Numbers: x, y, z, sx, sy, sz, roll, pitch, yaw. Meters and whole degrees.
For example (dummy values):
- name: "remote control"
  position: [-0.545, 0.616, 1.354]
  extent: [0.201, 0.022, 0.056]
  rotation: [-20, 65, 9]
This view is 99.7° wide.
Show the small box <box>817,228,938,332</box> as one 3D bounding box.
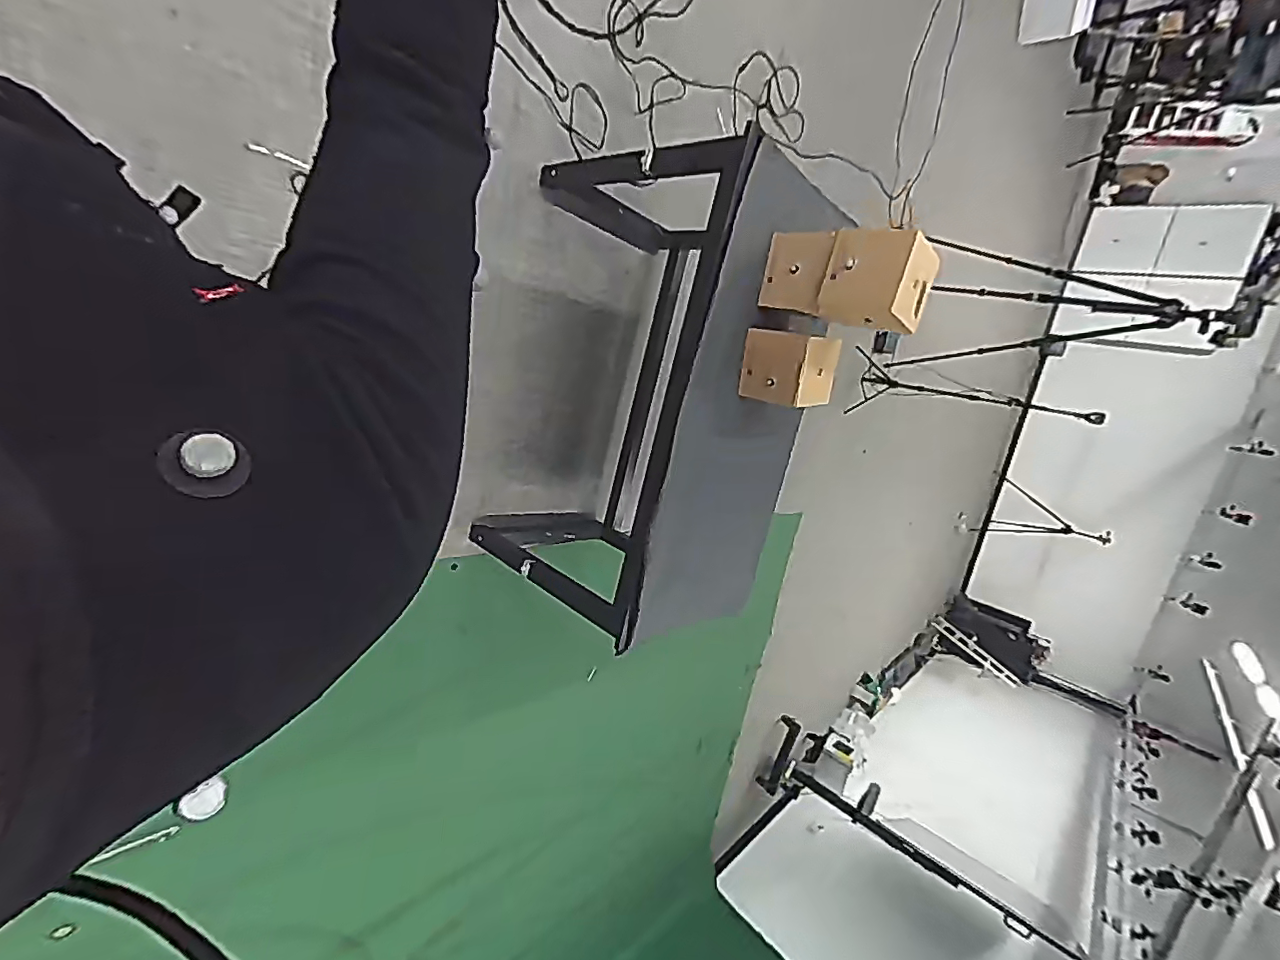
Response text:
- name: "small box"
  position: [0.517, -0.438, 1.182]
  extent: [0.179, 0.176, 0.168]
  rotation: [6, 104, -49]

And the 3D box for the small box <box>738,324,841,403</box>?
- name: "small box"
  position: [0.368, -0.291, 1.345]
  extent: [0.179, 0.176, 0.168]
  rotation: [-13, 118, -45]
